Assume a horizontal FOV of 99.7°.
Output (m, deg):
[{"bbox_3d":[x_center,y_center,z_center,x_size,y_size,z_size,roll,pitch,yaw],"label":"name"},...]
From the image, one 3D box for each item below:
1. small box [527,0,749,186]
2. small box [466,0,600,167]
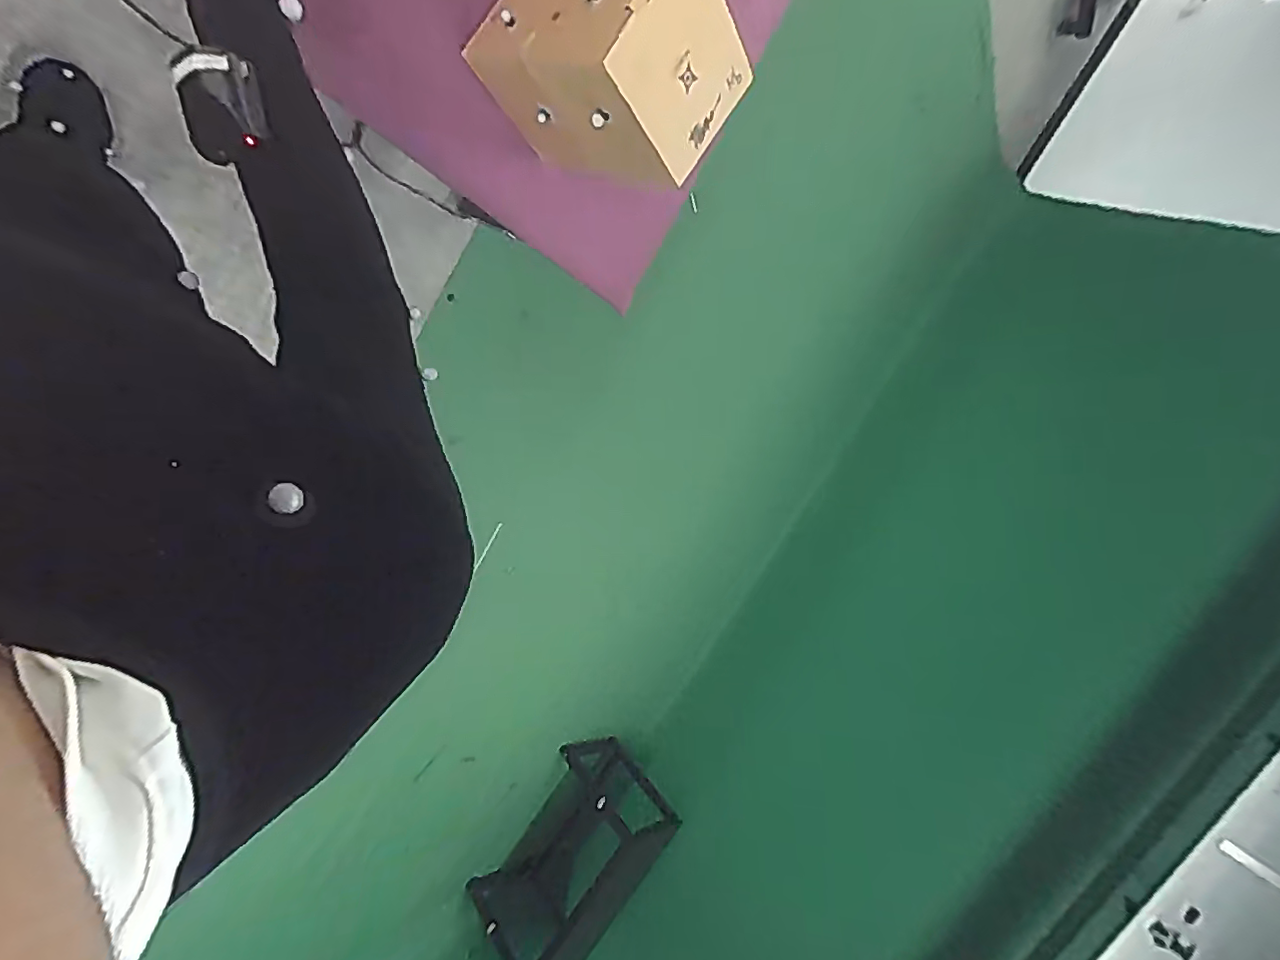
[{"bbox_3d":[-0.005,-0.500,0.662,0.168,0.176,0.179,-54,142,3],"label":"small box"},{"bbox_3d":[-0.108,-0.580,0.759,0.168,0.176,0.179,-53,144,0],"label":"small box"}]
